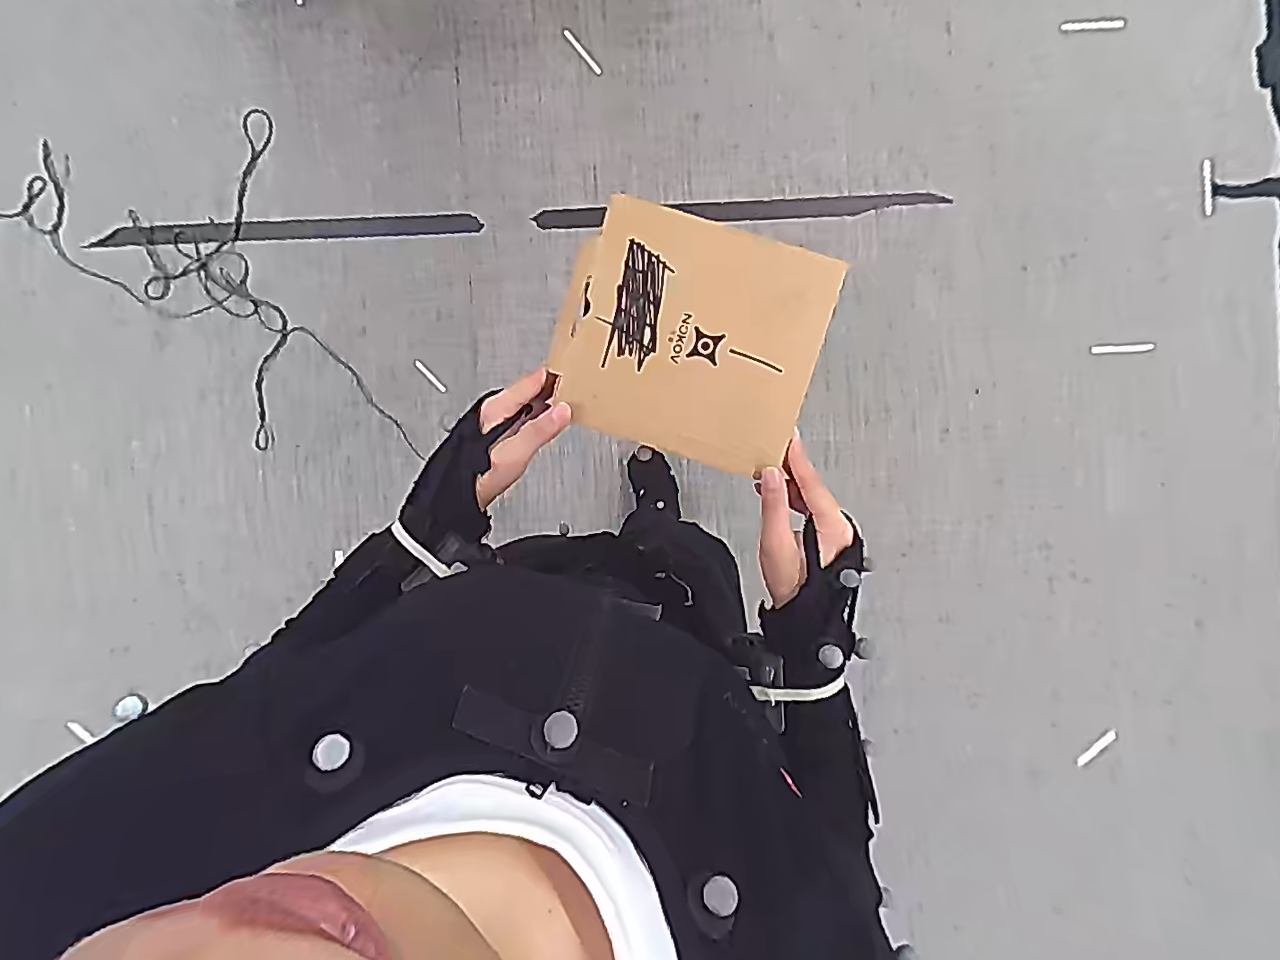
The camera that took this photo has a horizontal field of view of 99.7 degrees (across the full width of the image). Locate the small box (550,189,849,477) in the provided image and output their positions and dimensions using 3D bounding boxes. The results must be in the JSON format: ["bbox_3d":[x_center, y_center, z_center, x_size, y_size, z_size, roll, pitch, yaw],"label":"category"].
[{"bbox_3d":[0.043,-0.109,0.462,0.179,0.176,0.168,17,96,1],"label":"small box"}]

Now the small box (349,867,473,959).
[{"bbox_3d":[-0.445,0.902,1.063,0.179,0.176,0.168,4,90,0],"label":"small box"}]

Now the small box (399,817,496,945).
[{"bbox_3d":[-0.432,0.899,1.226,0.168,0.176,0.179,1,91,1],"label":"small box"}]
